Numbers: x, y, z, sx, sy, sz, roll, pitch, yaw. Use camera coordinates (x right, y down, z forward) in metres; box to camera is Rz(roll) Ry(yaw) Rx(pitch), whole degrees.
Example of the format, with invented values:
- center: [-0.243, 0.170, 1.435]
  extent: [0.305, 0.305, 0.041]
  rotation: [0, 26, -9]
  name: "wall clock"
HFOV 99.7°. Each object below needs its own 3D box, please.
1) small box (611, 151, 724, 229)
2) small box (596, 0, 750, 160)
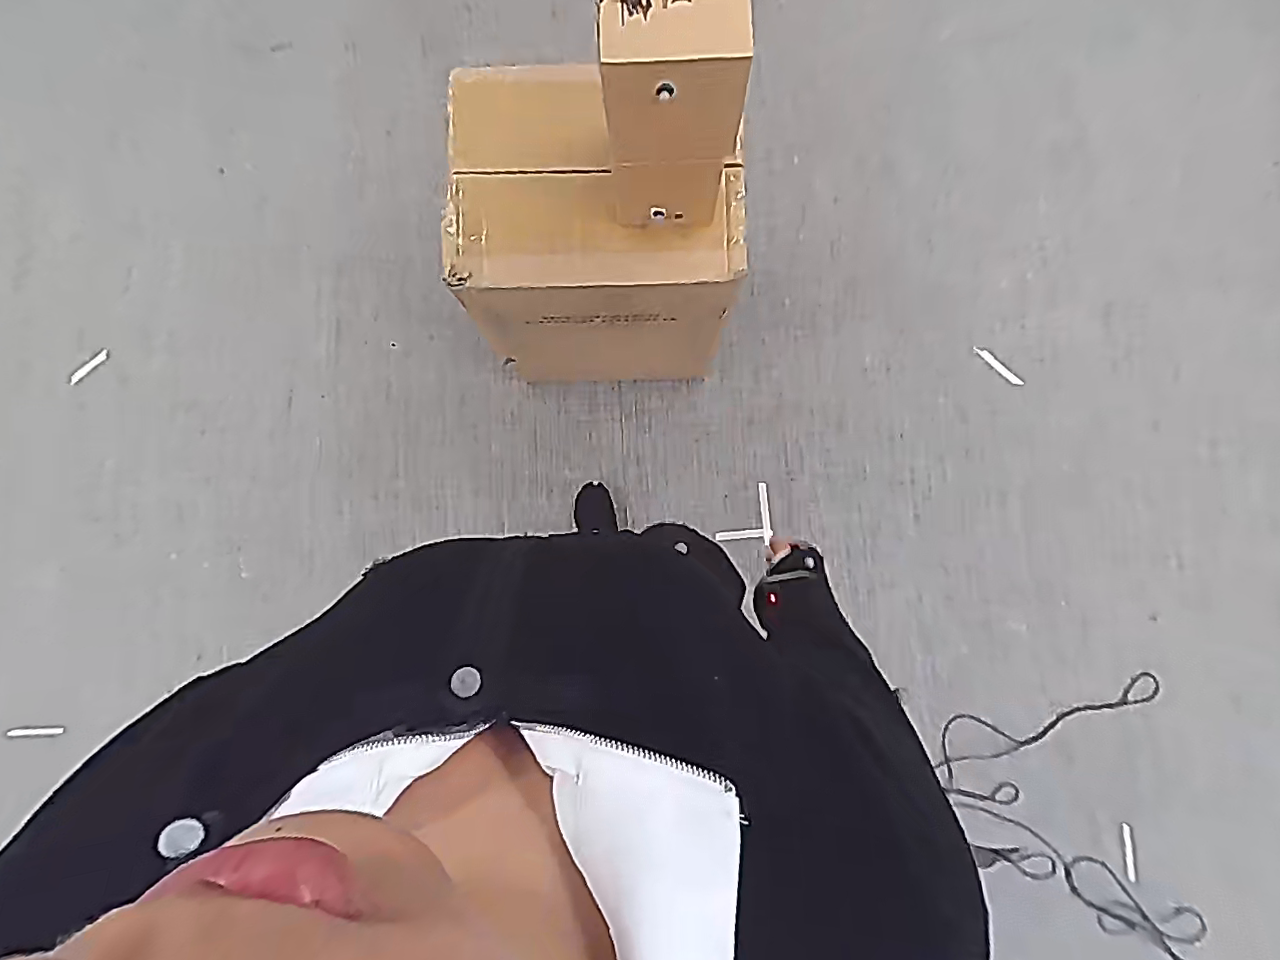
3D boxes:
- center: [0.040, -0.529, 0.861]
  extent: [0.168, 0.176, 0.179]
  rotation: [-2, 86, 2]
  name: "small box"
- center: [0.039, -0.542, 0.696]
  extent: [0.179, 0.176, 0.168]
  rotation: [-2, 85, 1]
  name: "small box"
